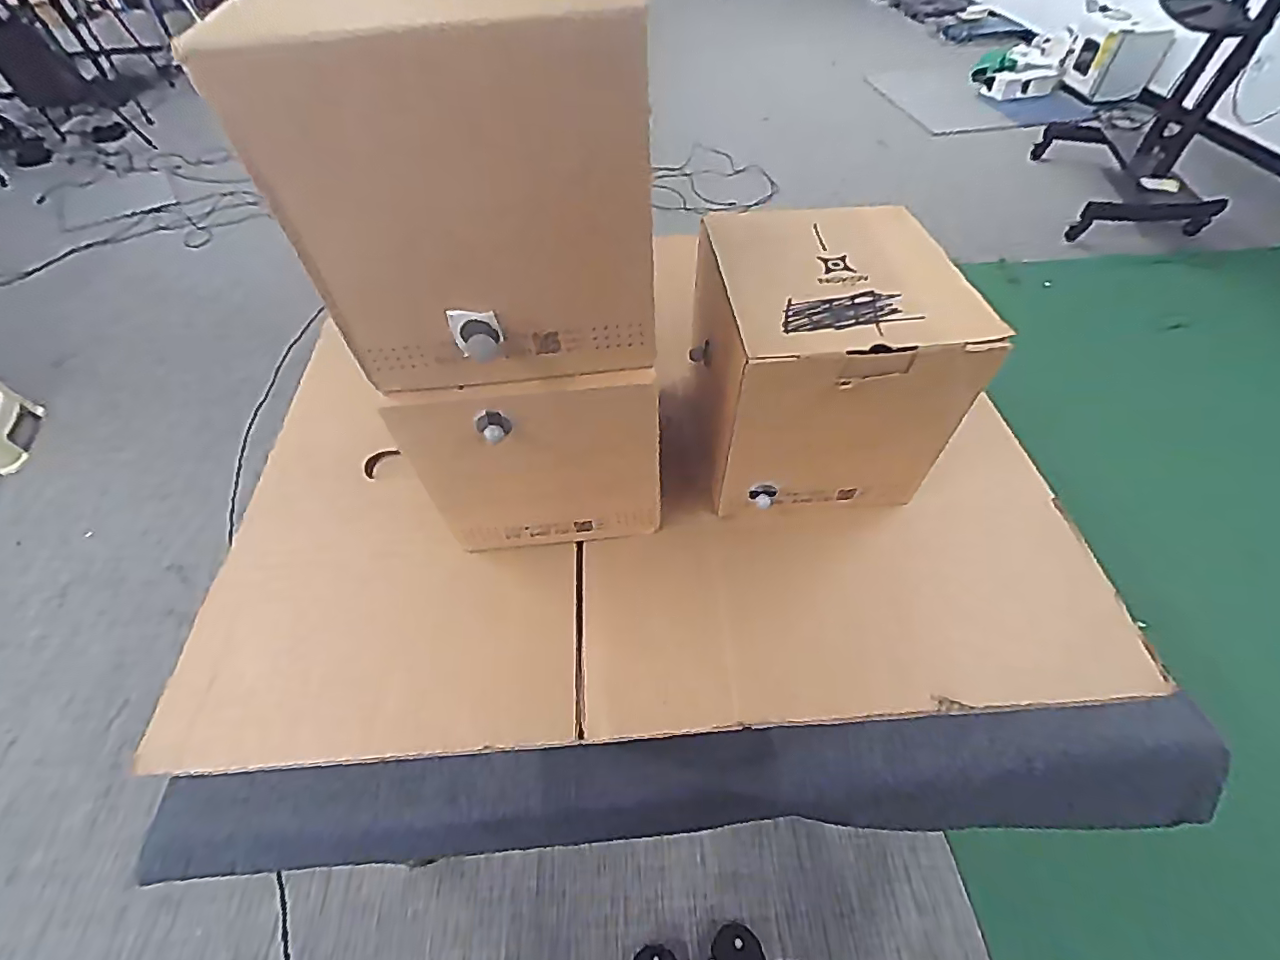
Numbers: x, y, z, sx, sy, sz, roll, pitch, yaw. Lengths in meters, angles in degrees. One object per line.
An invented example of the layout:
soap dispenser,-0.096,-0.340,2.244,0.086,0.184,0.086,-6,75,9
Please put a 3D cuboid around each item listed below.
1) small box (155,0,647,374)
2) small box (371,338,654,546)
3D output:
small box,-0.088,-0.183,0.295,0.168,0.176,0.179,-8,54,-2
small box,-0.079,-0.068,0.431,0.168,0.176,0.179,-6,52,0
